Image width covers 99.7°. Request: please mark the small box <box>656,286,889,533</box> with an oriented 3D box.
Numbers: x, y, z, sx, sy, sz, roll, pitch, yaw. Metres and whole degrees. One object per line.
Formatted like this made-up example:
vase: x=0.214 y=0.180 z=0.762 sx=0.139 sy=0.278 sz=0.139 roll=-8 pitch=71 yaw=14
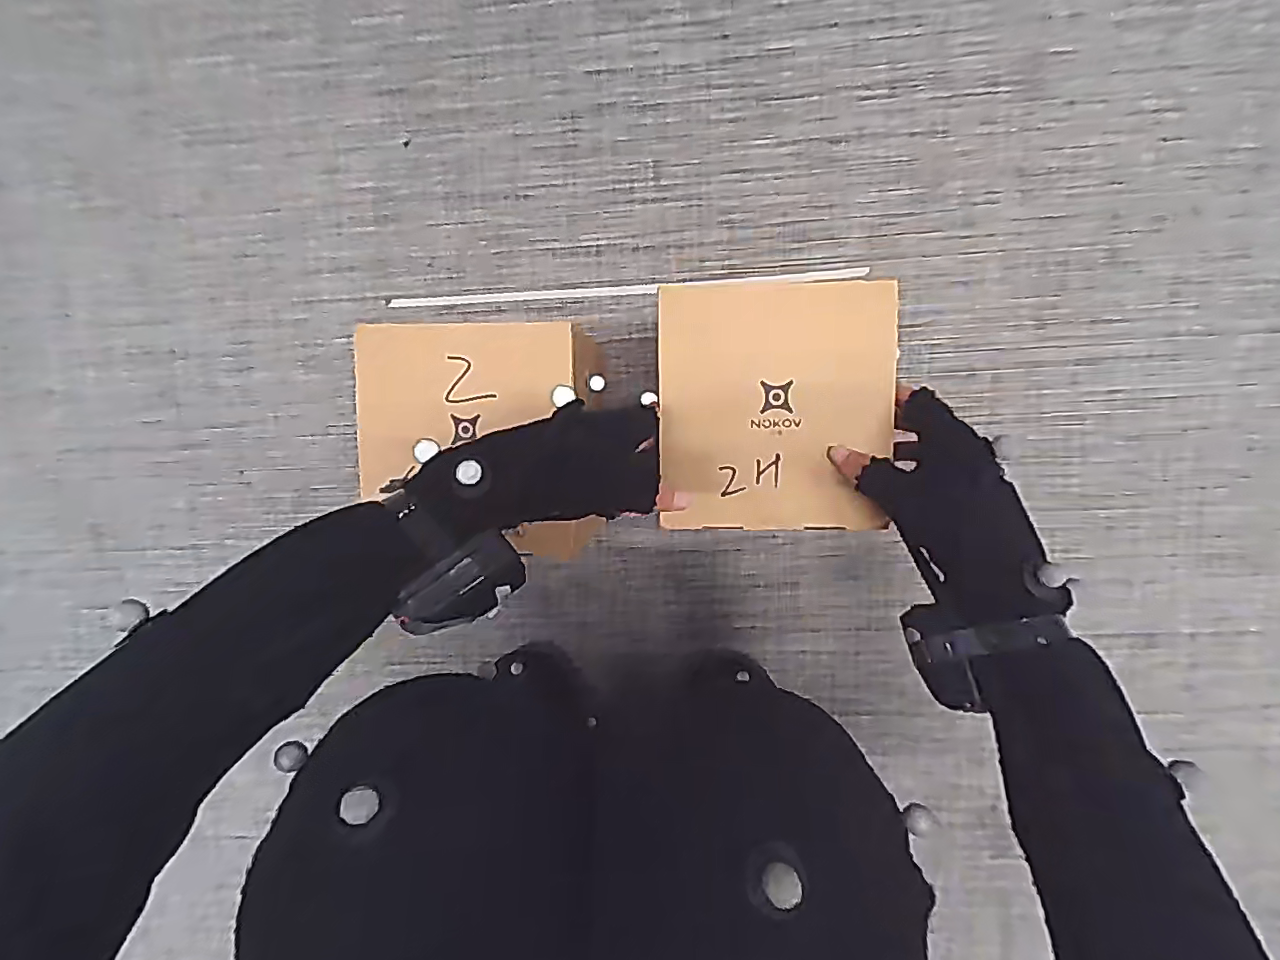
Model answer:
small box: x=0.097 y=-0.054 z=0.466 sx=0.168 sy=0.176 sz=0.179 roll=-1 pitch=95 yaw=5
